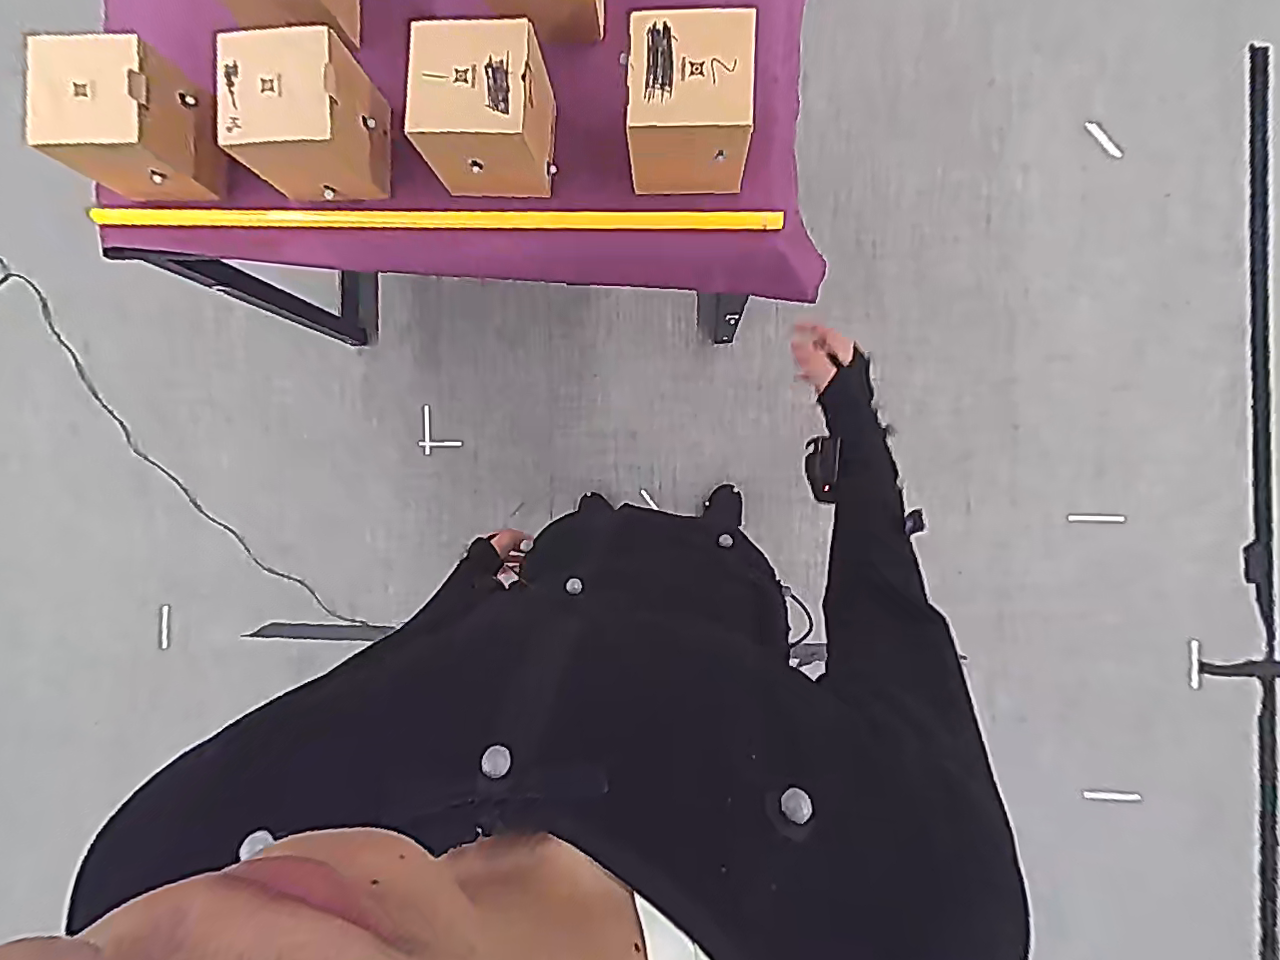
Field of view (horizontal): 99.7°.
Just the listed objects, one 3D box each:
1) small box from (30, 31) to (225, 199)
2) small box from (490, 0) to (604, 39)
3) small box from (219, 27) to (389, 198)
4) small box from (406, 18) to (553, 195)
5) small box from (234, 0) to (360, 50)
[{"bbox_3d":[-0.817,-0.582,0.881,0.179,0.176,0.168,0,90,1],"label":"small box"},{"bbox_3d":[-0.148,-0.830,0.839,0.179,0.176,0.168,2,91,5],"label":"small box"},{"bbox_3d":[-0.522,-0.573,0.864,0.179,0.176,0.168,0,90,3],"label":"small box"},{"bbox_3d":[-0.239,-0.569,0.844,0.179,0.176,0.168,2,88,4],"label":"small box"},{"bbox_3d":[-0.571,-0.840,0.865,0.168,0.176,0.179,2,92,4],"label":"small box"}]
